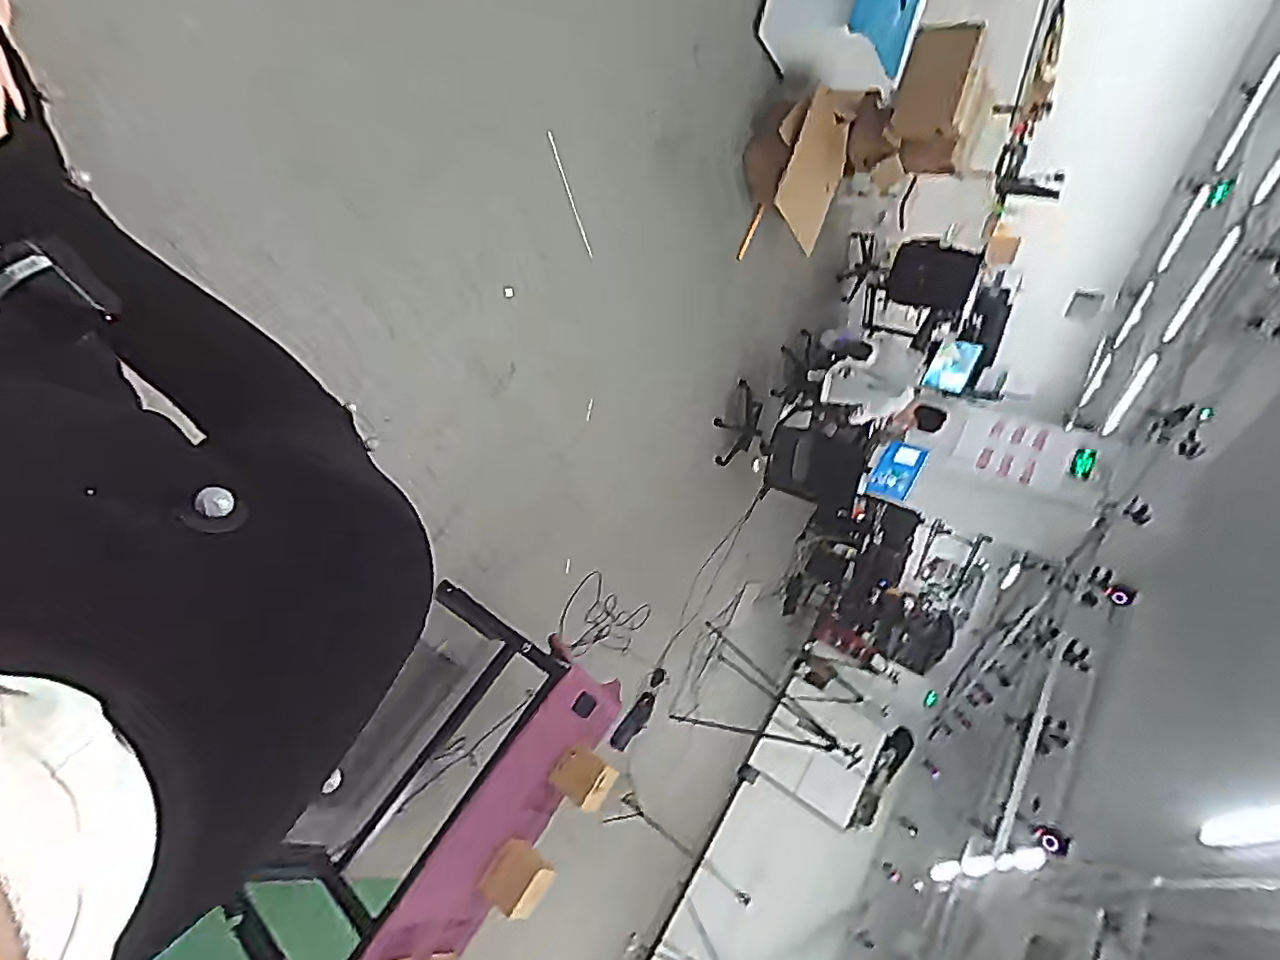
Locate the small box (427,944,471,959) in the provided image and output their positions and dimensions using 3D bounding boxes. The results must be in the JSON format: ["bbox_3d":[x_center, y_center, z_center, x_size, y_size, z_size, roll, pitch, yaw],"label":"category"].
[{"bbox_3d":[-0.638,1.675,1.776,0.168,0.176,0.179,-52,147,-24],"label":"small box"}]

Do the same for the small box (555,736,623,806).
[{"bbox_3d":[-0.195,1.110,2.067,0.168,0.176,0.179,-53,147,-21],"label":"small box"}]

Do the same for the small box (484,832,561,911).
[{"bbox_3d":[-0.416,1.391,1.926,0.168,0.176,0.179,-52,146,-23],"label":"small box"}]

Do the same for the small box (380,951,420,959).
[{"bbox_3d":[-0.703,1.499,1.545,0.168,0.176,0.179,-54,148,-22],"label":"small box"}]
